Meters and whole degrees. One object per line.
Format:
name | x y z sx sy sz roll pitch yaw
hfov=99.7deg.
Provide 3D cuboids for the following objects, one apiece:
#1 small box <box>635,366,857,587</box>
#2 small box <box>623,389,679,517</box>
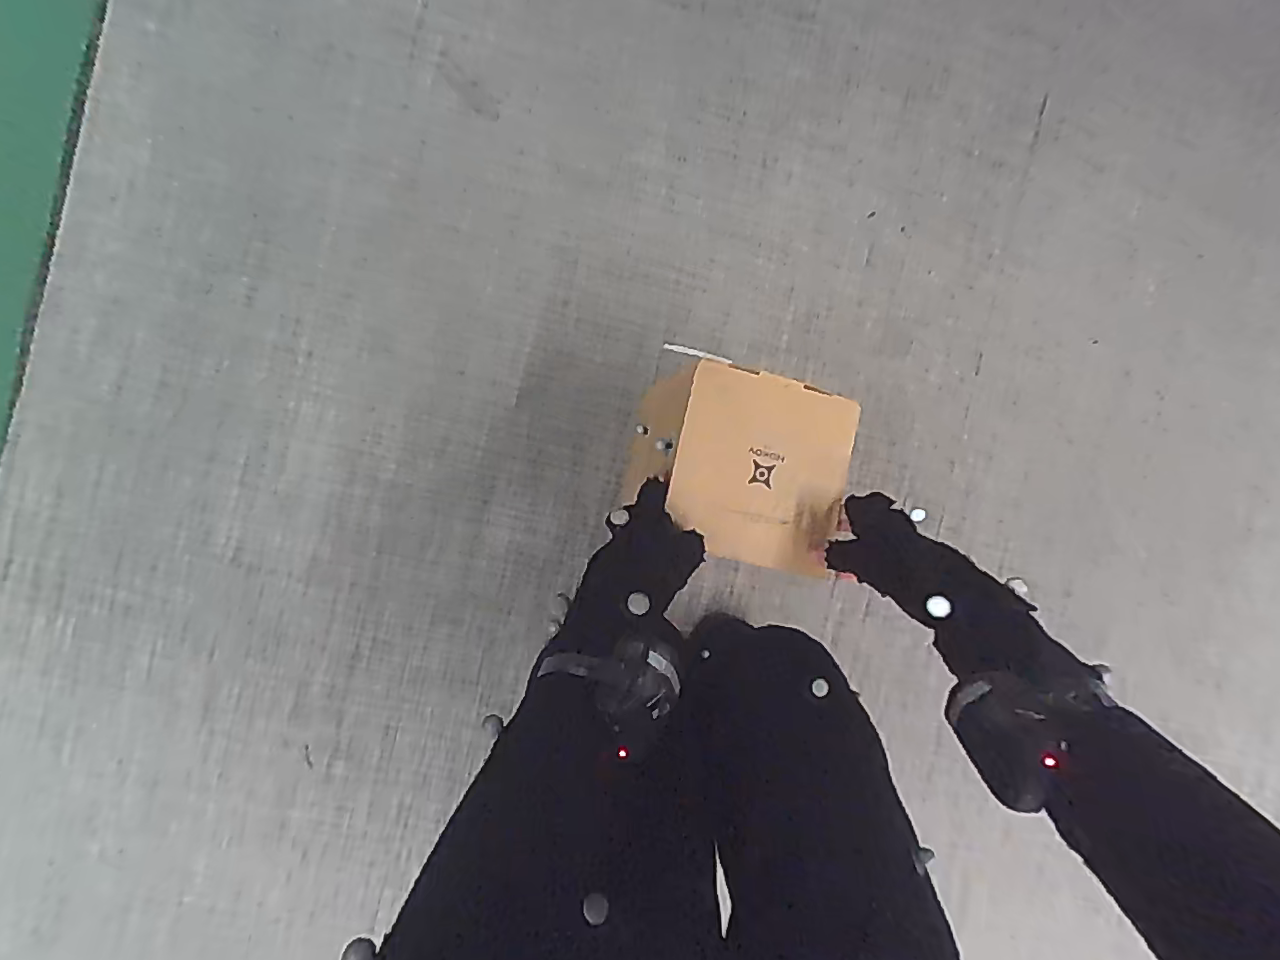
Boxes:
small box | 0.098 -0.001 0.579 0.168 0.176 0.179 14 87 -8
small box | 0.083 -0.018 0.750 0.179 0.176 0.168 13 90 -7
